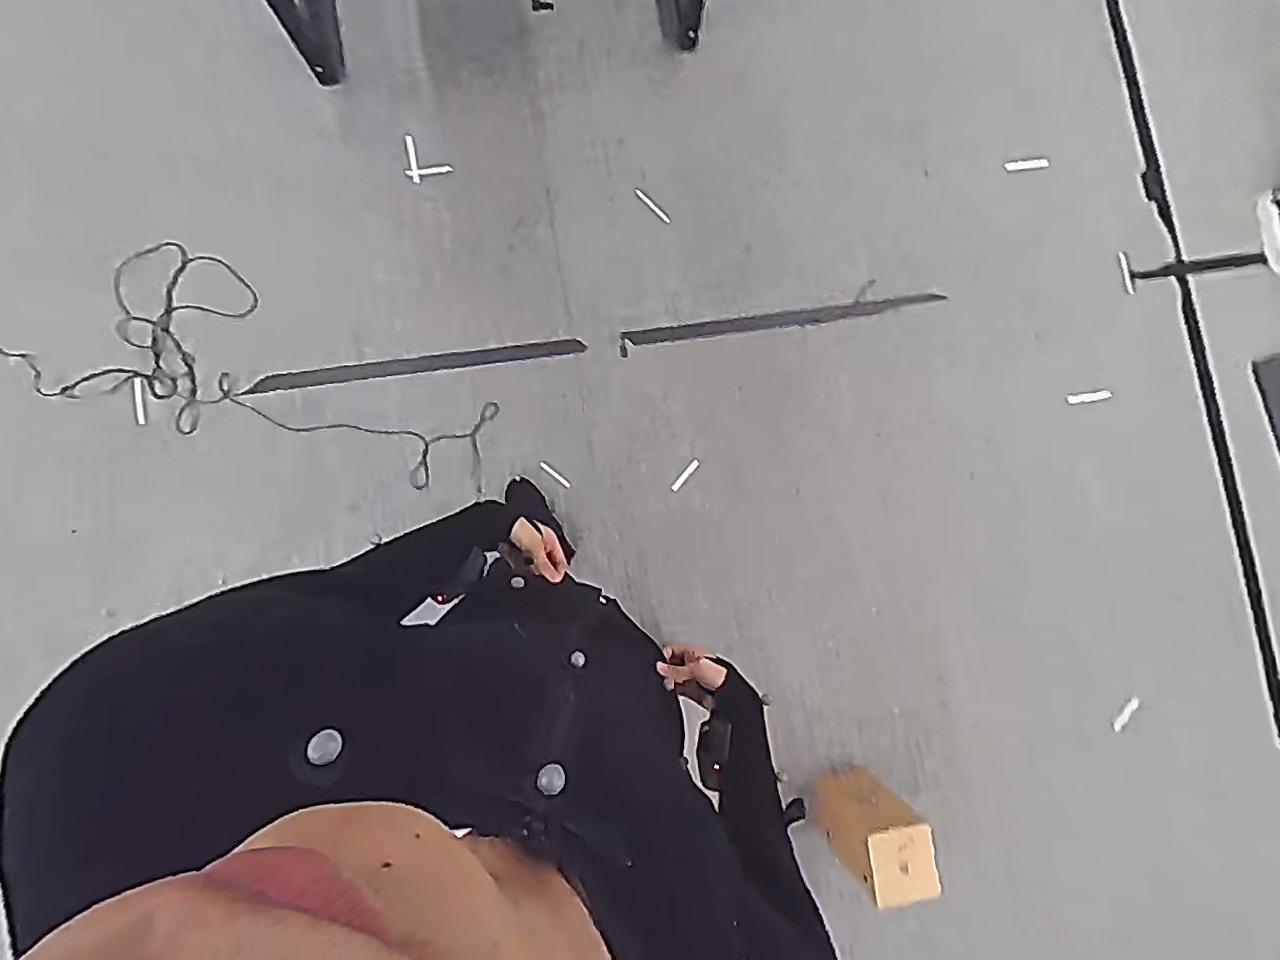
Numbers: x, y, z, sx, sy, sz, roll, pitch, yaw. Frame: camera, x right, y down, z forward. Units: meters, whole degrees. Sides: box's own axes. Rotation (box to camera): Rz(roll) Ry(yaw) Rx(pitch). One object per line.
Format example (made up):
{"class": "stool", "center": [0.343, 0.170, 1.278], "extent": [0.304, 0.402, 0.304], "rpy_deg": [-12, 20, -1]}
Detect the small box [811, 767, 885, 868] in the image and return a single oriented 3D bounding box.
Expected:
{"class": "small box", "center": [0.607, 0.955, 1.542], "extent": [0.168, 0.176, 0.179], "rpy_deg": [-7, 87, -6]}

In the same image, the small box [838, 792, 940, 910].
{"class": "small box", "center": [0.627, 0.937, 1.380], "extent": [0.168, 0.176, 0.179], "rpy_deg": [-7, 86, -6]}
